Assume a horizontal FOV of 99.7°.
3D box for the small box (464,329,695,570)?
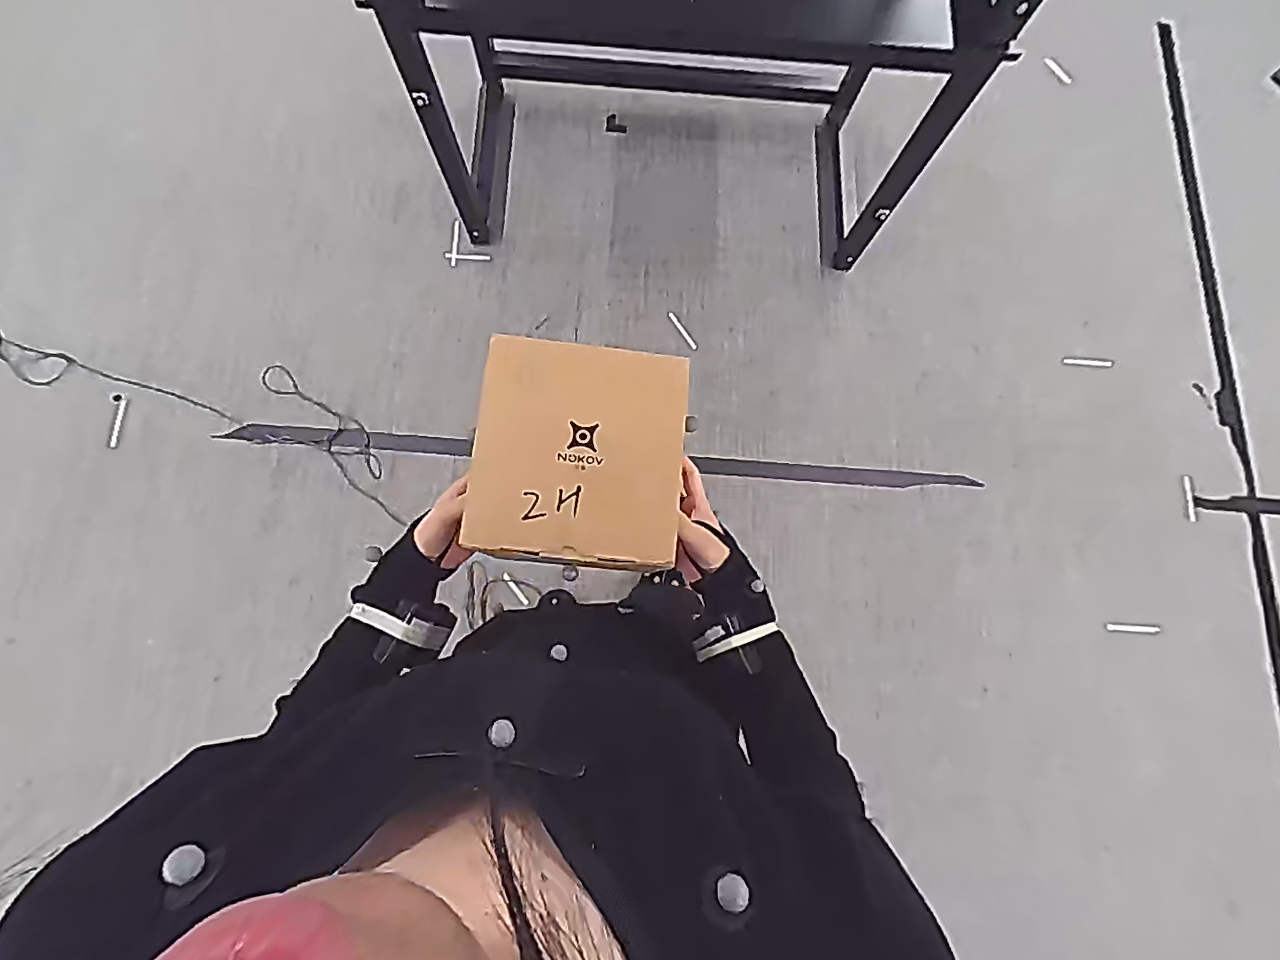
[{"bbox_3d":[-0.051,-0.014,0.504,0.168,0.176,0.179,6,79,-4],"label":"small box"}]
